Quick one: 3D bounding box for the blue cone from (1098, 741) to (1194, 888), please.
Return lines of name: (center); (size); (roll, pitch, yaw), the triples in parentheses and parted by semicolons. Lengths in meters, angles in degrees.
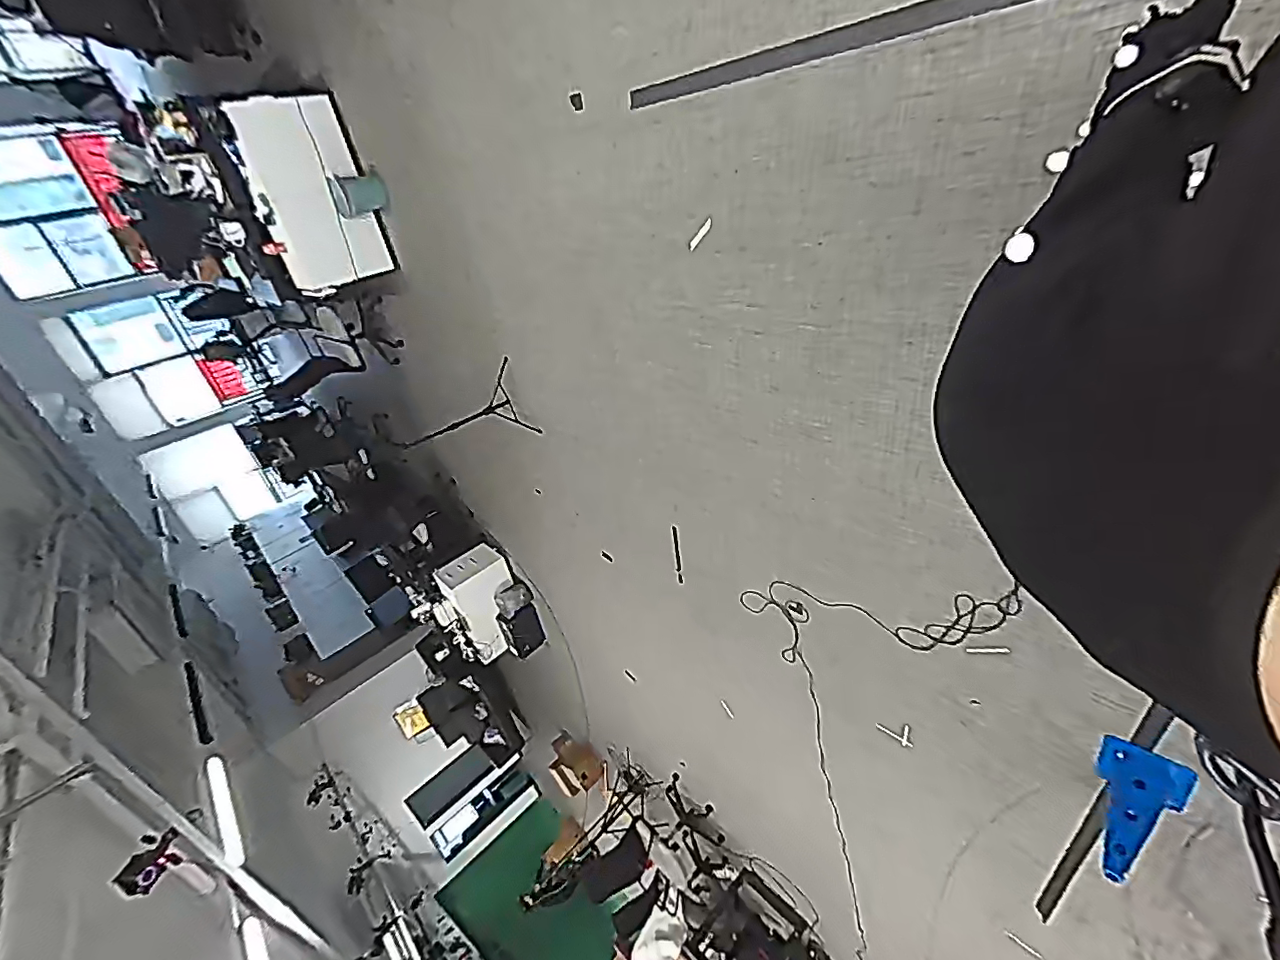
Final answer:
blue cone: (1.344, 0.928, 1.477); (0.192, 0.380, 0.193); (18, 132, 43)
